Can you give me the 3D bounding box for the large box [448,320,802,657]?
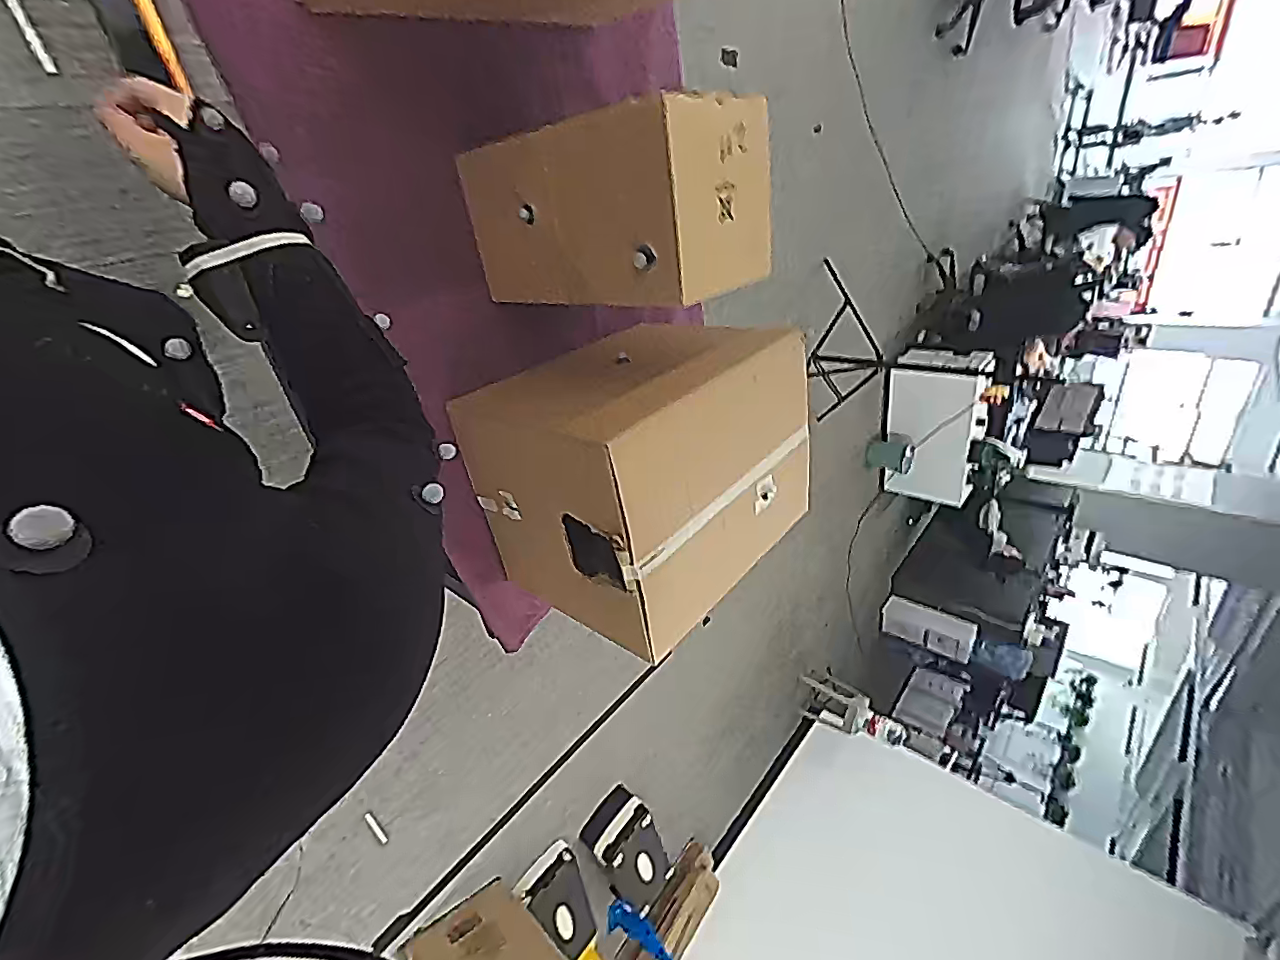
[{"bbox_3d":[0.004,-0.030,0.808,0.408,0.320,0.320,-36,129,-38],"label":"large box"}]
